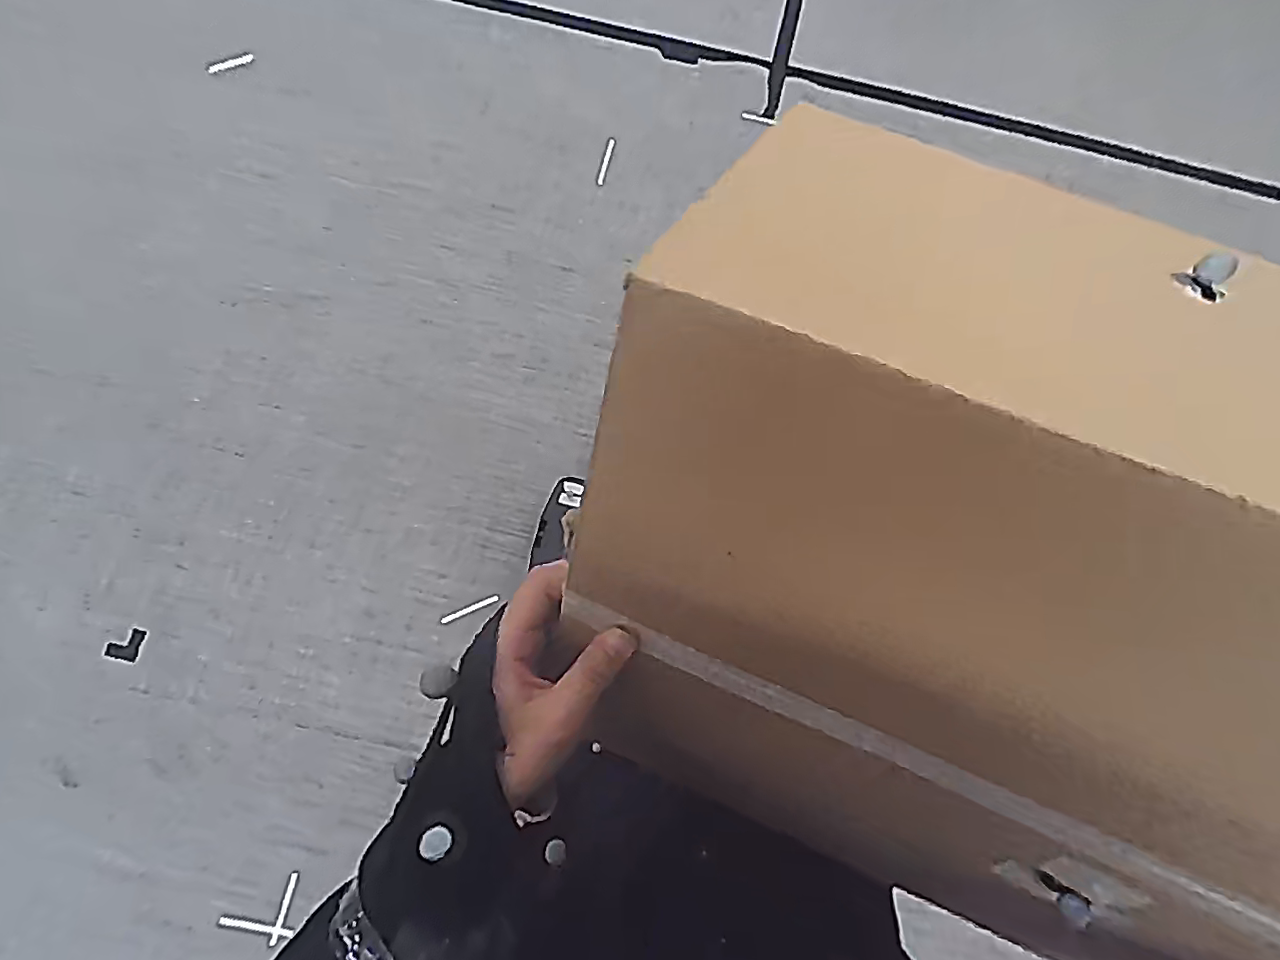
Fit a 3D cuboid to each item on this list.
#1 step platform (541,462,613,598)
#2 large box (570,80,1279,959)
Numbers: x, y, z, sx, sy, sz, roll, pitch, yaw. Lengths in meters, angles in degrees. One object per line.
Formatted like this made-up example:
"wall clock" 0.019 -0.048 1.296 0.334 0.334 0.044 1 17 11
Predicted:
"step platform" 0.130 0.200 1.210 0.684 0.204 0.286 20 78 0
"large box" 0.211 0.005 0.324 0.408 0.320 0.320 22 46 6
